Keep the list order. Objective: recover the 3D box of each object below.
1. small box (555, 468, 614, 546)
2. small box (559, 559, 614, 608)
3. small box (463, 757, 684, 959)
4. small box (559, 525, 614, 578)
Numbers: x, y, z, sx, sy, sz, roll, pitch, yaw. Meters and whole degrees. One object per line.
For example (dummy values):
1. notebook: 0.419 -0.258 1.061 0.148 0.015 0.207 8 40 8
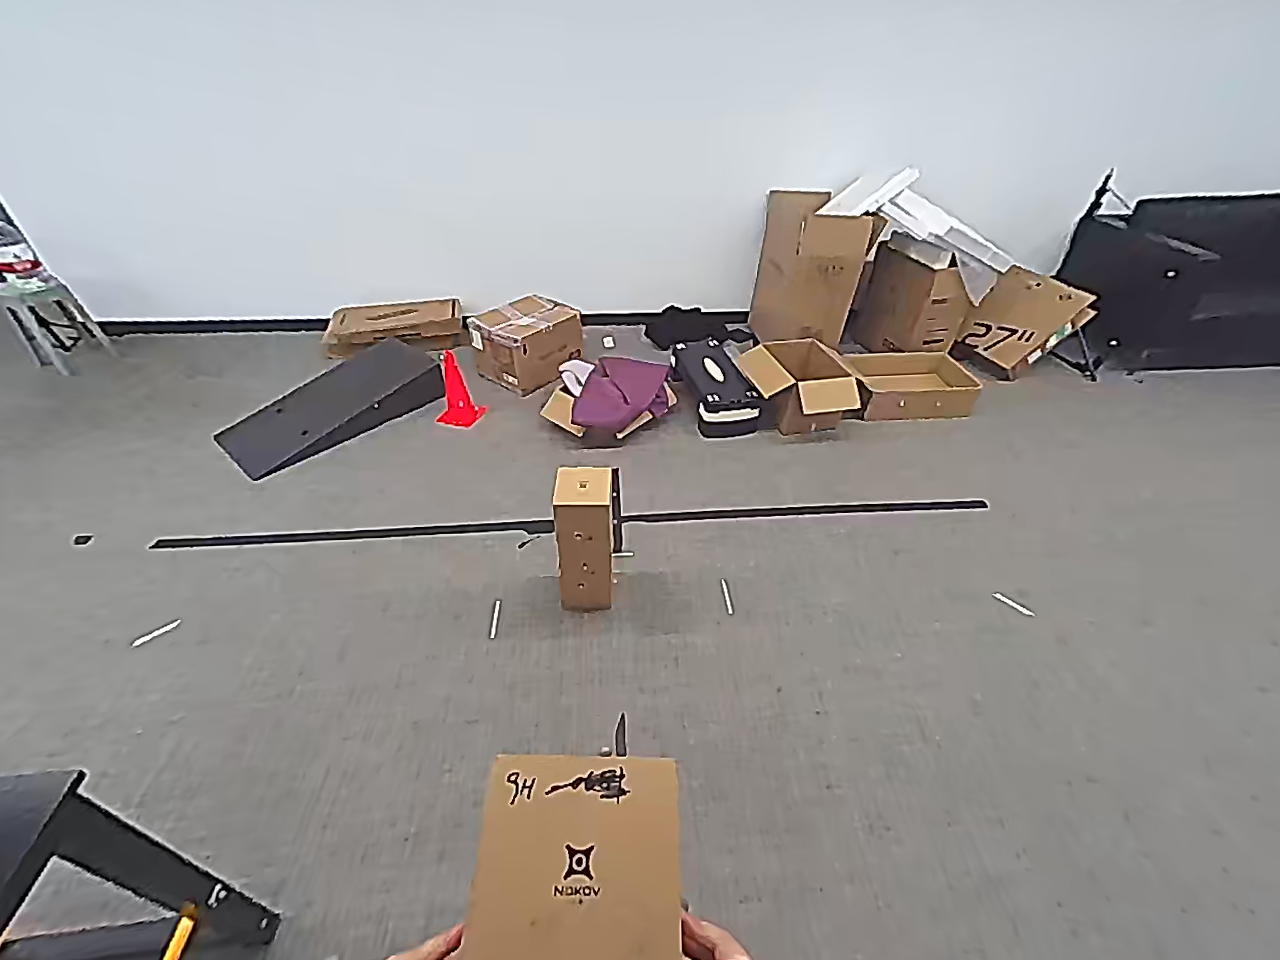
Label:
1. small box: -0.165 0.081 1.653 0.168 0.176 0.179 0 41 -1
2. small box: -0.180 0.327 1.869 0.179 0.176 0.168 1 40 -2
3. small box: -0.050 0.364 0.487 0.168 0.176 0.179 2 50 -2
4. small box: -0.170 0.198 1.768 0.168 0.176 0.179 0 40 -1
